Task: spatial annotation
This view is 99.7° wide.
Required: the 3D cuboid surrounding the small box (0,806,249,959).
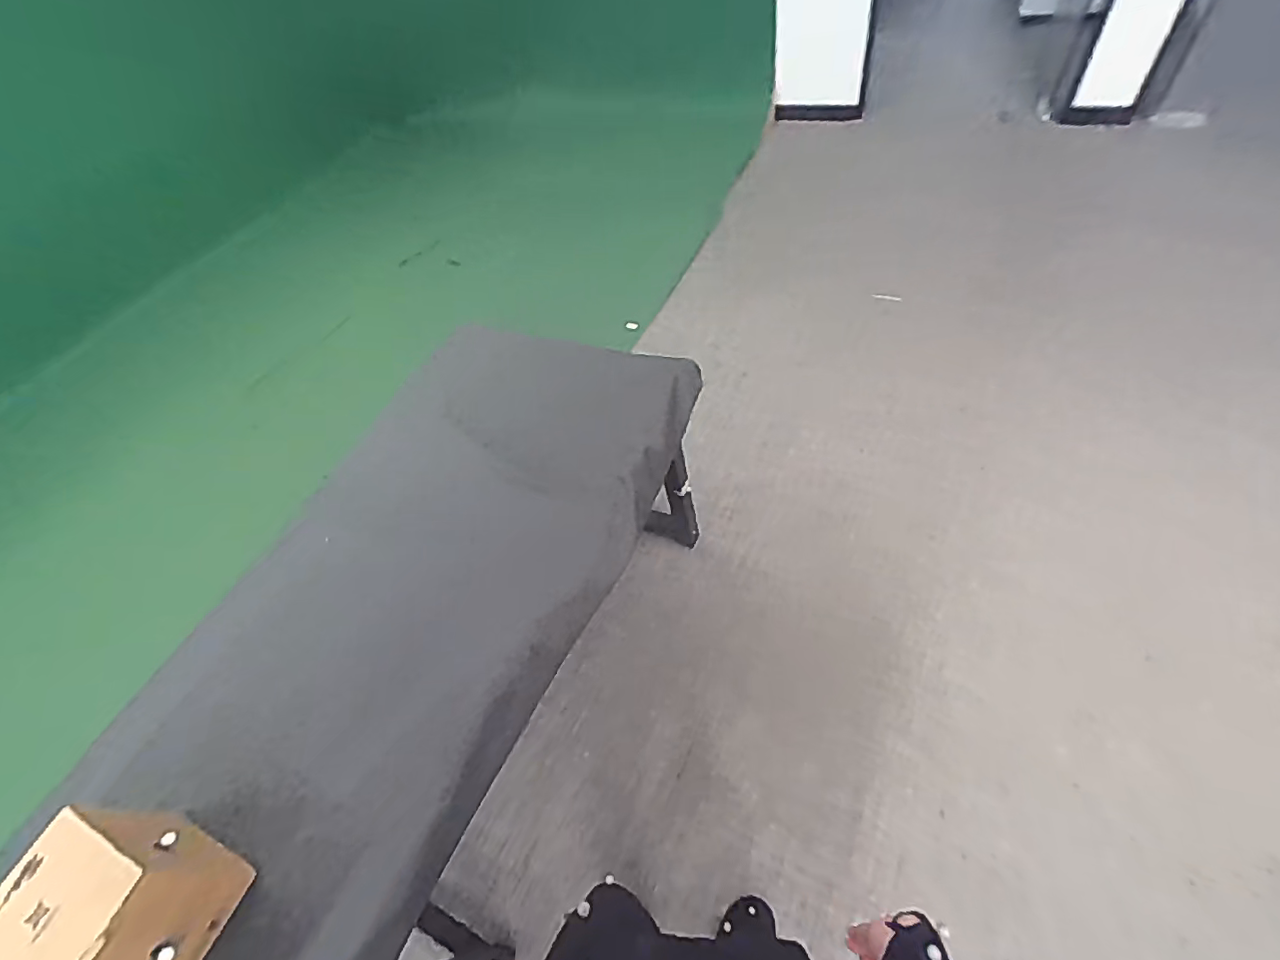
[{"bbox_3d":[-0.640,0.525,0.660,0.179,0.176,0.168,15,59,19],"label":"small box"}]
